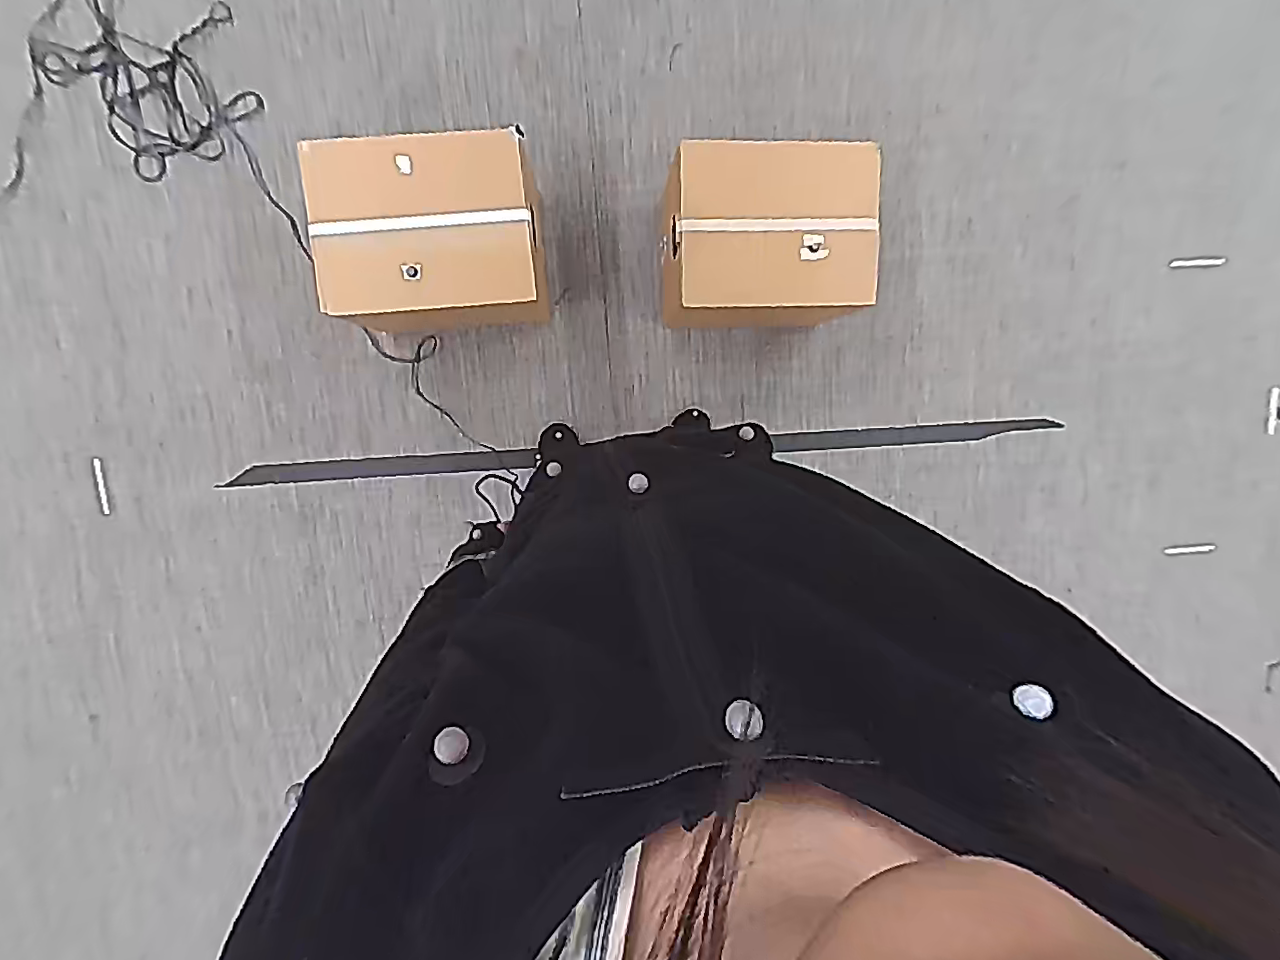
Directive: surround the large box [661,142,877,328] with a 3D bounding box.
[{"bbox_3d":[0.268,-0.530,1.229,0.408,0.320,0.320,-2,98,-5],"label":"large box"}]
